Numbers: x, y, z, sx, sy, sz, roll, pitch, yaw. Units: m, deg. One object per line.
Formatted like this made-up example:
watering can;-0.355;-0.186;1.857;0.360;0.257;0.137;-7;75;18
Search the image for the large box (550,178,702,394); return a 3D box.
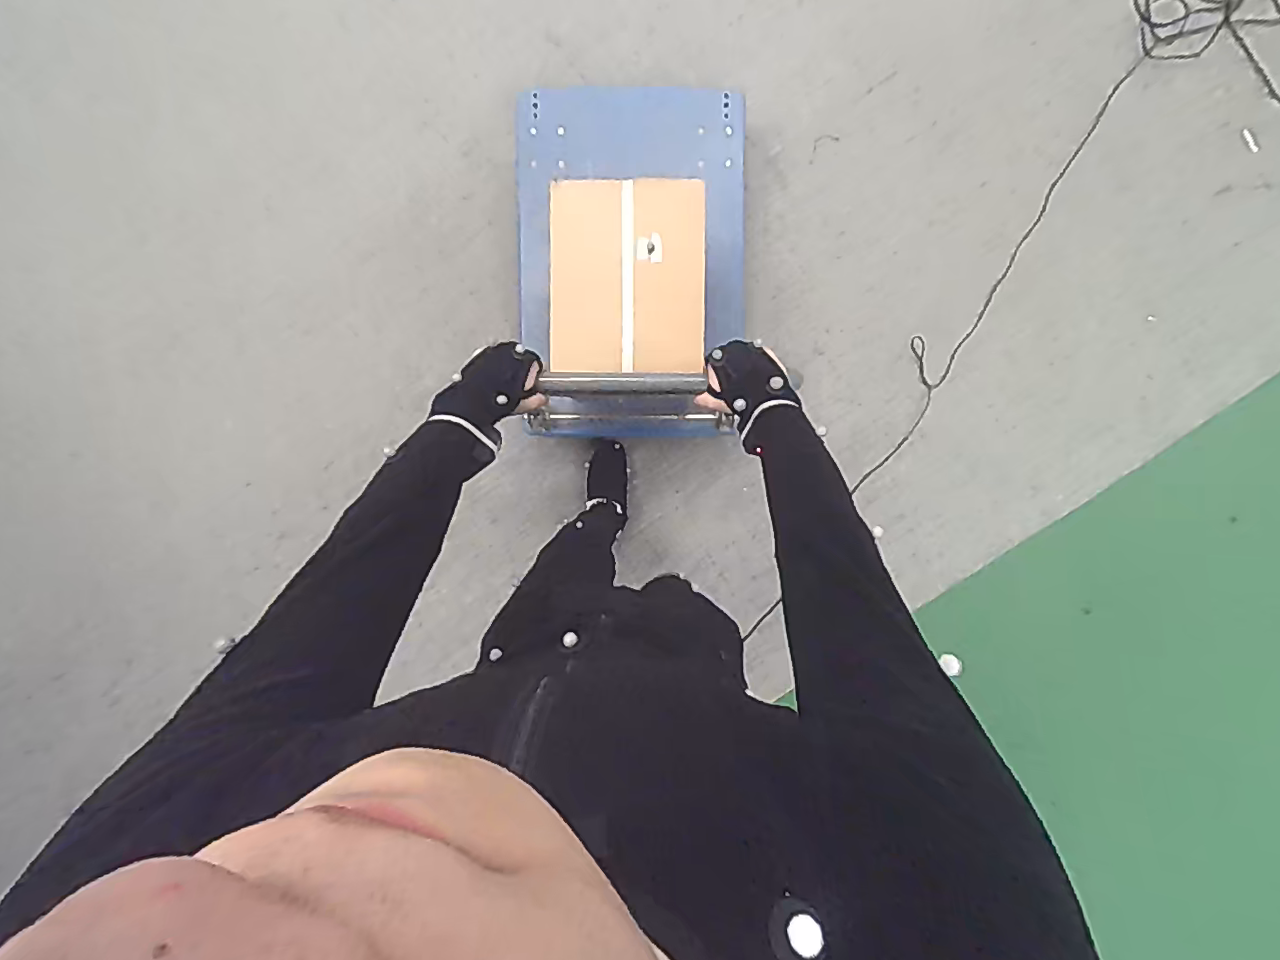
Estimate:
large box;-0.025;-0.418;1.252;0.320;0.320;0.408;1;92;0
